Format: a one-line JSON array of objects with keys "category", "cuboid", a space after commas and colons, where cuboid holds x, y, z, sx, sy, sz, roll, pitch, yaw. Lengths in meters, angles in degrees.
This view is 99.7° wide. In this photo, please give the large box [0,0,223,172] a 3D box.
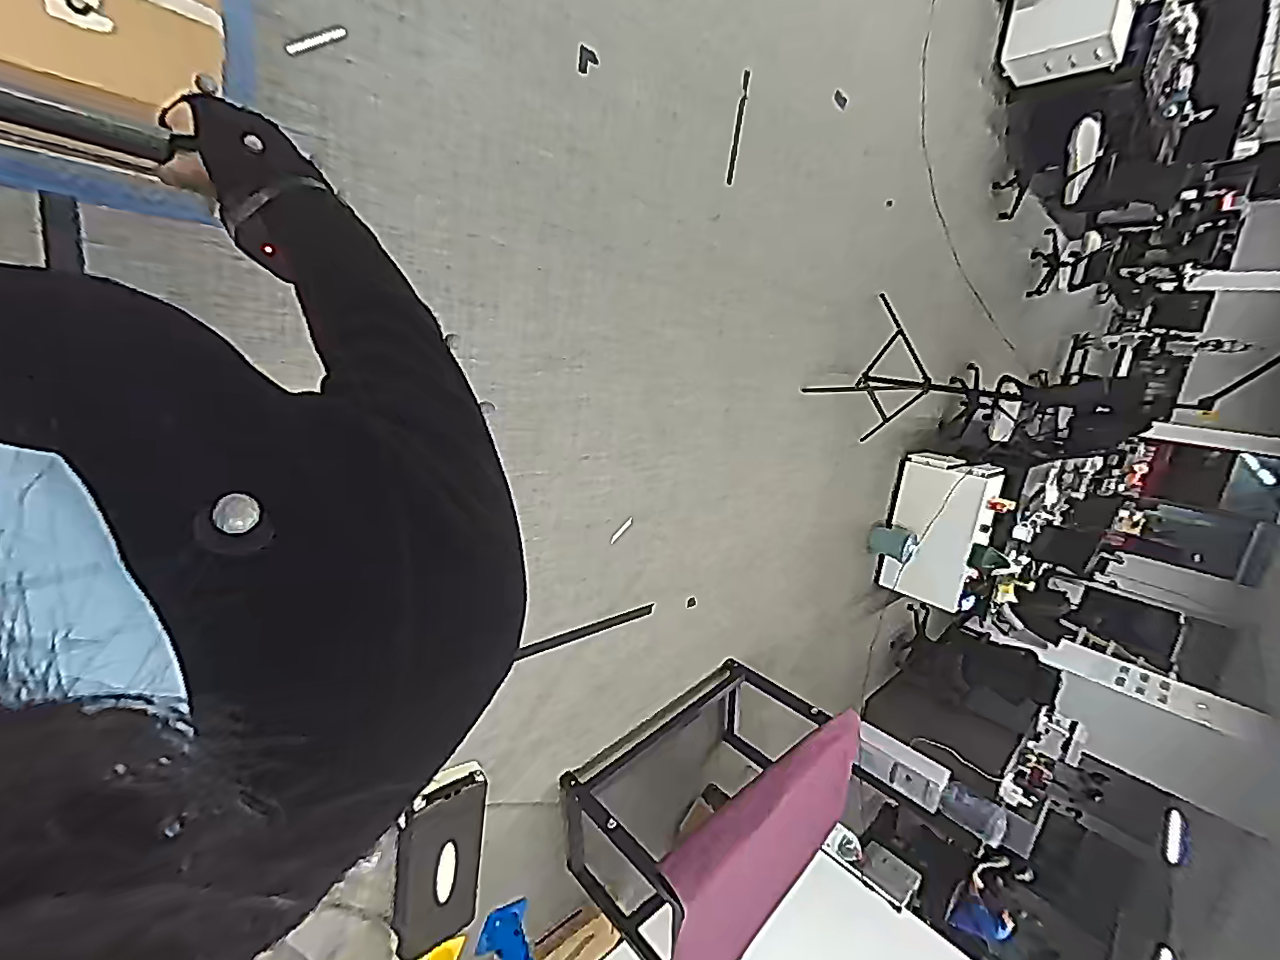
[{"category": "large box", "cuboid": [-0.828, -0.651, 0.704, 0.408, 0.320, 0.320, -5, 108, -45]}]
